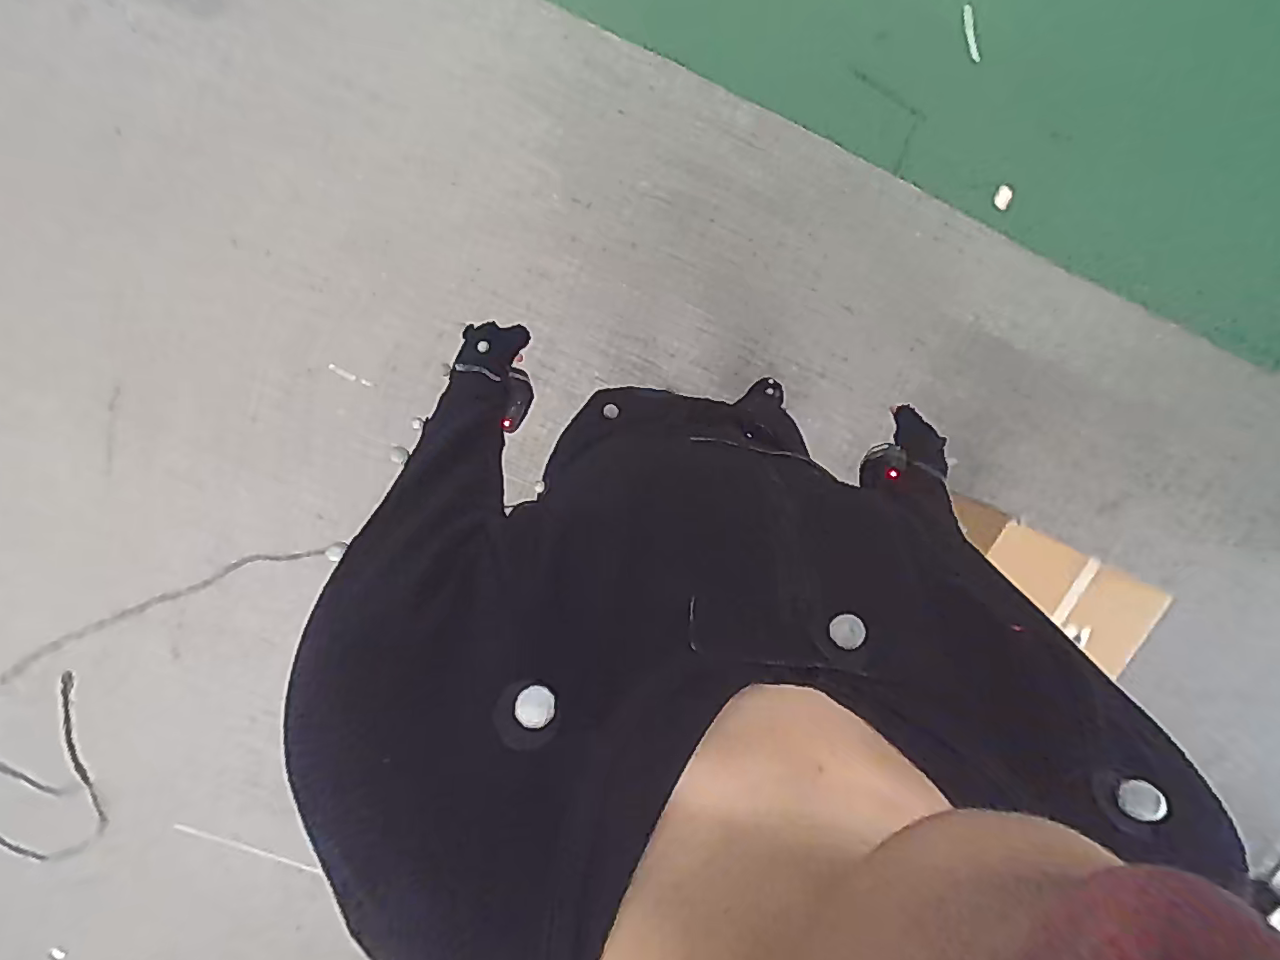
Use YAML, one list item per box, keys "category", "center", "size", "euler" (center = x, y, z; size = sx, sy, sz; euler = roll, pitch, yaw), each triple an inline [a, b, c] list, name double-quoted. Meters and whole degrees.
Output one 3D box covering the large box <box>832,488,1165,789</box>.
- category: "large box"
  center: [0.642, 0.276, 1.050]
  size: [0.320, 0.320, 0.408]
  euler: [26, 99, -3]
